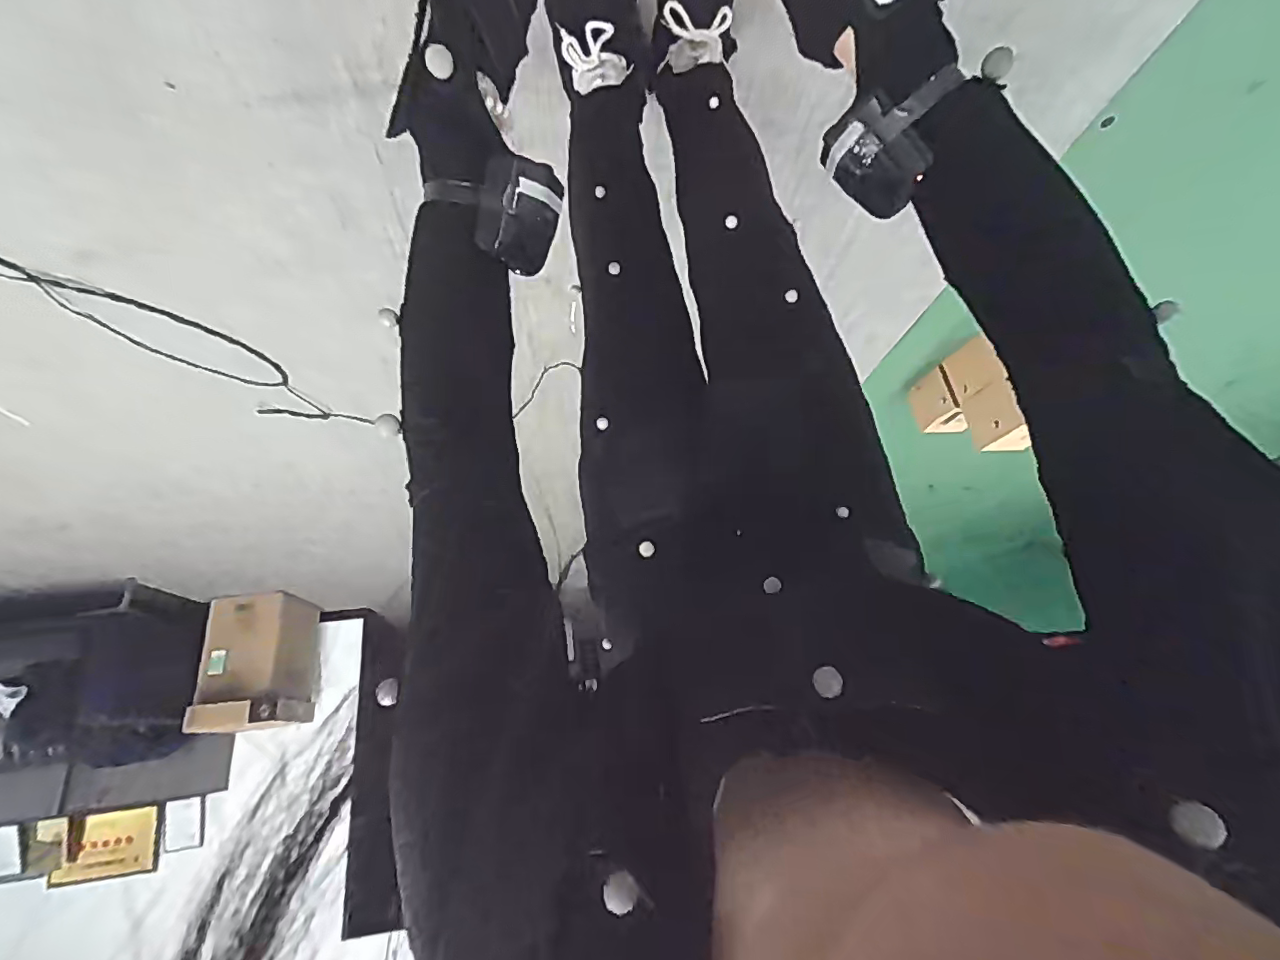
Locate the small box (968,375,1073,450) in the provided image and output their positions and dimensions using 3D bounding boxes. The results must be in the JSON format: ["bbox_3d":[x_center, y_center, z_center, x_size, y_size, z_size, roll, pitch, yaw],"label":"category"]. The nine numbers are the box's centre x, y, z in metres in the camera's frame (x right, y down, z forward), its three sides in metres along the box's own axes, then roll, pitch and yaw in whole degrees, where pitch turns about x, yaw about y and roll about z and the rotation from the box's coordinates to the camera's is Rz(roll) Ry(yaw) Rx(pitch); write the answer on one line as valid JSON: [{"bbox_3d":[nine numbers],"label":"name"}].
[{"bbox_3d":[1.141,-0.204,1.639,0.168,0.176,0.179,-2,158,-13],"label":"small box"}]
